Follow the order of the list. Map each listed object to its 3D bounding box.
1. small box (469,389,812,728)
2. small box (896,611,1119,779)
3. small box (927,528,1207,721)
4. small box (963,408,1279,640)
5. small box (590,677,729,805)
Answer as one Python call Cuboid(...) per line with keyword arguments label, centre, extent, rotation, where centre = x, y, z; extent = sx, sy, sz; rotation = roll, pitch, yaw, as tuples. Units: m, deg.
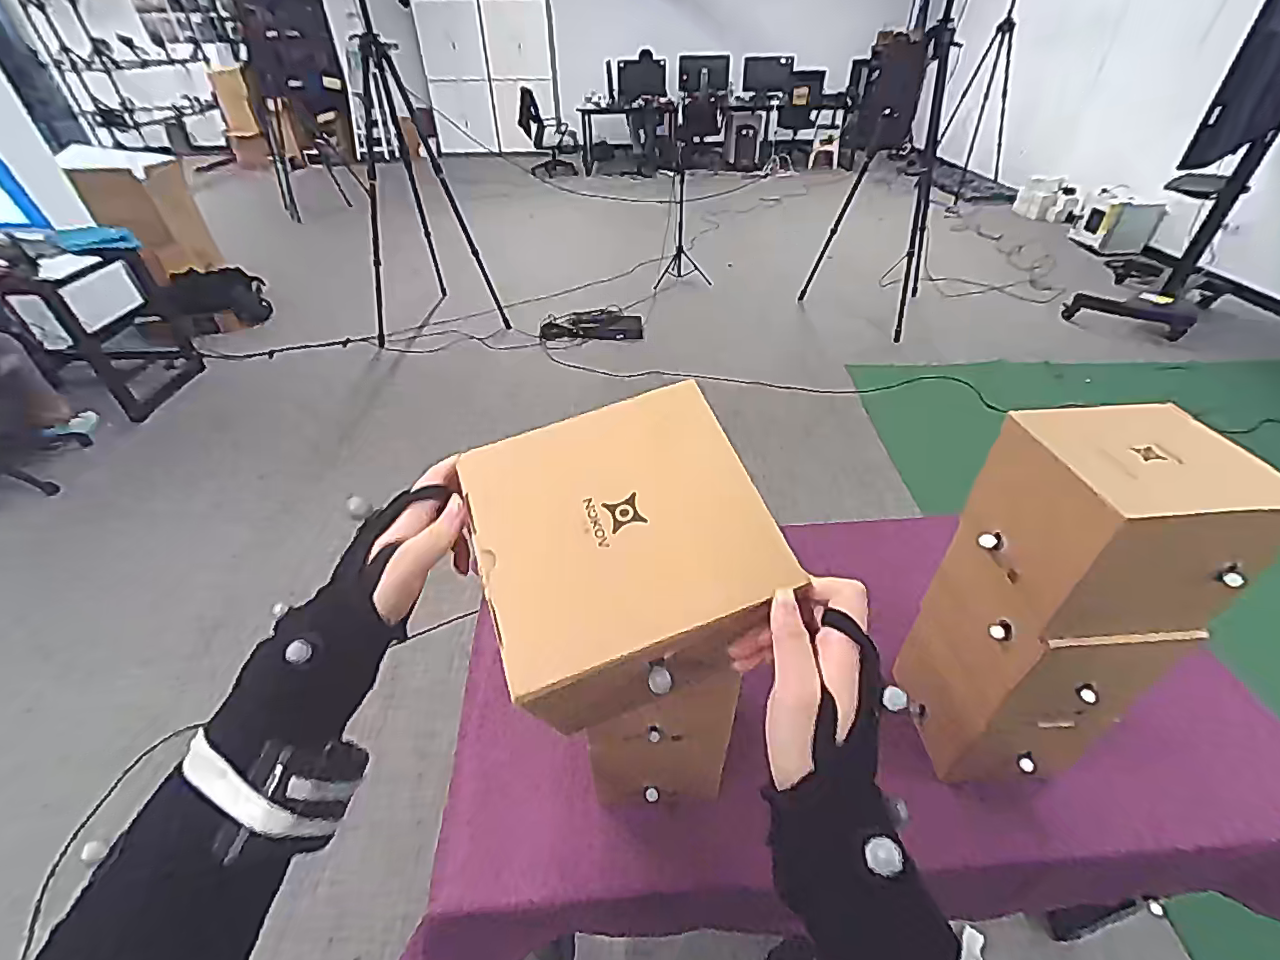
Cuboid(label="small box", centre=(-0.004, 0.066, 0.403), extent=(0.179, 0.176, 0.168), rotation=(-19, 60, -7))
Cuboid(label="small box", centre=(0.489, 0.299, 0.755), extent=(0.168, 0.176, 0.179), rotation=(-2, 41, -1))
Cuboid(label="small box", centre=(0.482, 0.172, 0.649), extent=(0.168, 0.176, 0.179), rotation=(-2, 40, -2))
Cuboid(label="small box", centre=(0.474, 0.044, 0.548), extent=(0.179, 0.176, 0.168), rotation=(-3, 39, -1))
Cuboid(label="small box", centre=(0.023, 0.320, 0.742), extent=(0.168, 0.176, 0.179), rotation=(-1, 41, 0))
